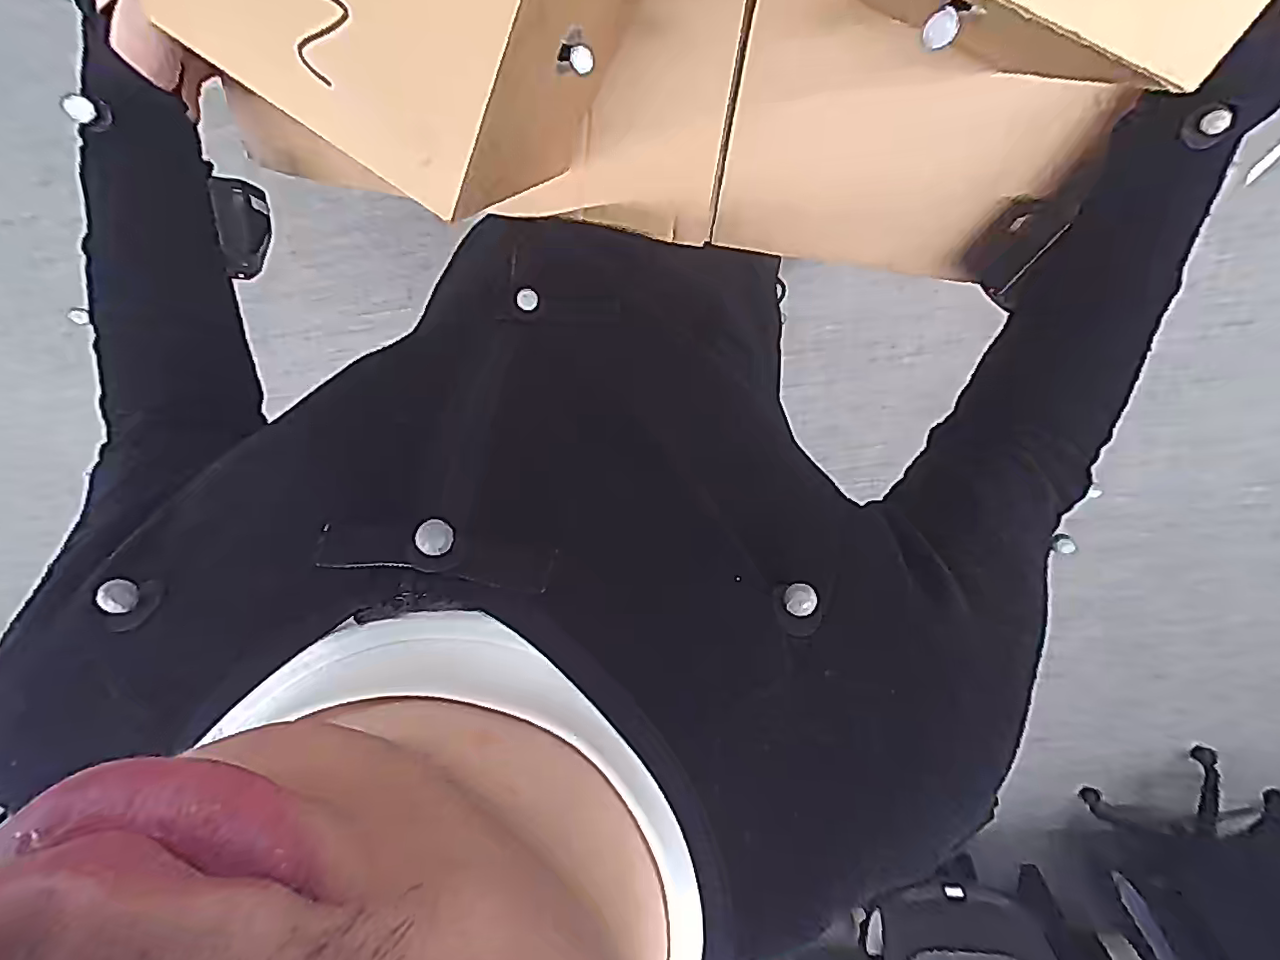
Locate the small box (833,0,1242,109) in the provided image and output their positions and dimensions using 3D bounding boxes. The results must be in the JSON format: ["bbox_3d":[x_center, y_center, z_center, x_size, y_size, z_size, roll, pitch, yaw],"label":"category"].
[{"bbox_3d":[0.180,-0.297,0.236,0.179,0.176,0.168,19,129,-6],"label":"small box"}]
